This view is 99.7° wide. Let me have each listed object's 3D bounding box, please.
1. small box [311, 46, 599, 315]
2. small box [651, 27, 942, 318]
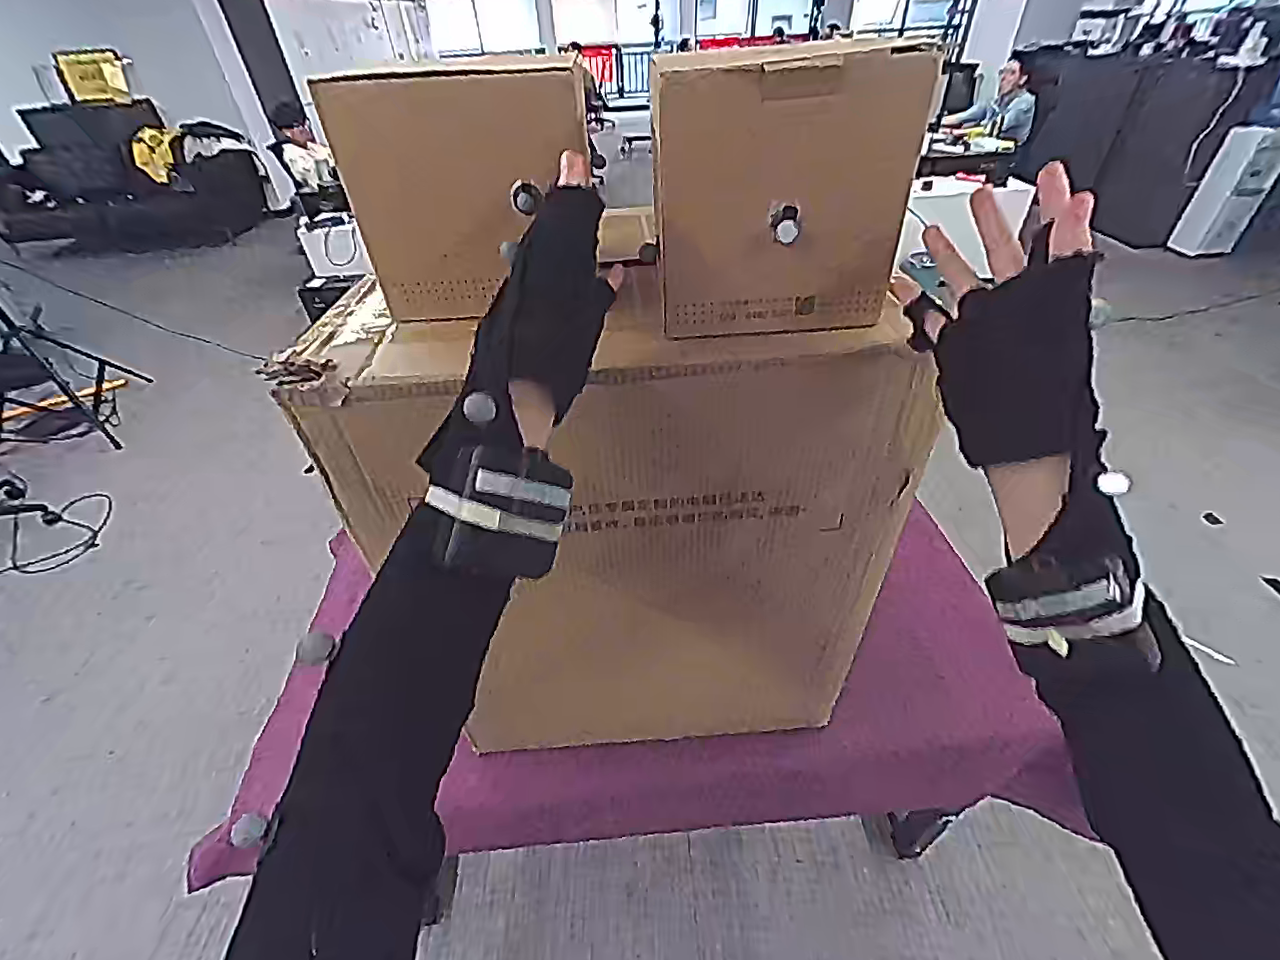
[{"bbox_3d":[-0.127,-0.254,0.460,0.179,0.176,0.168,-4,40,-1],"label":"small box"},{"bbox_3d":[0.096,-0.236,0.423,0.168,0.176,0.179,-3,41,1],"label":"small box"}]
